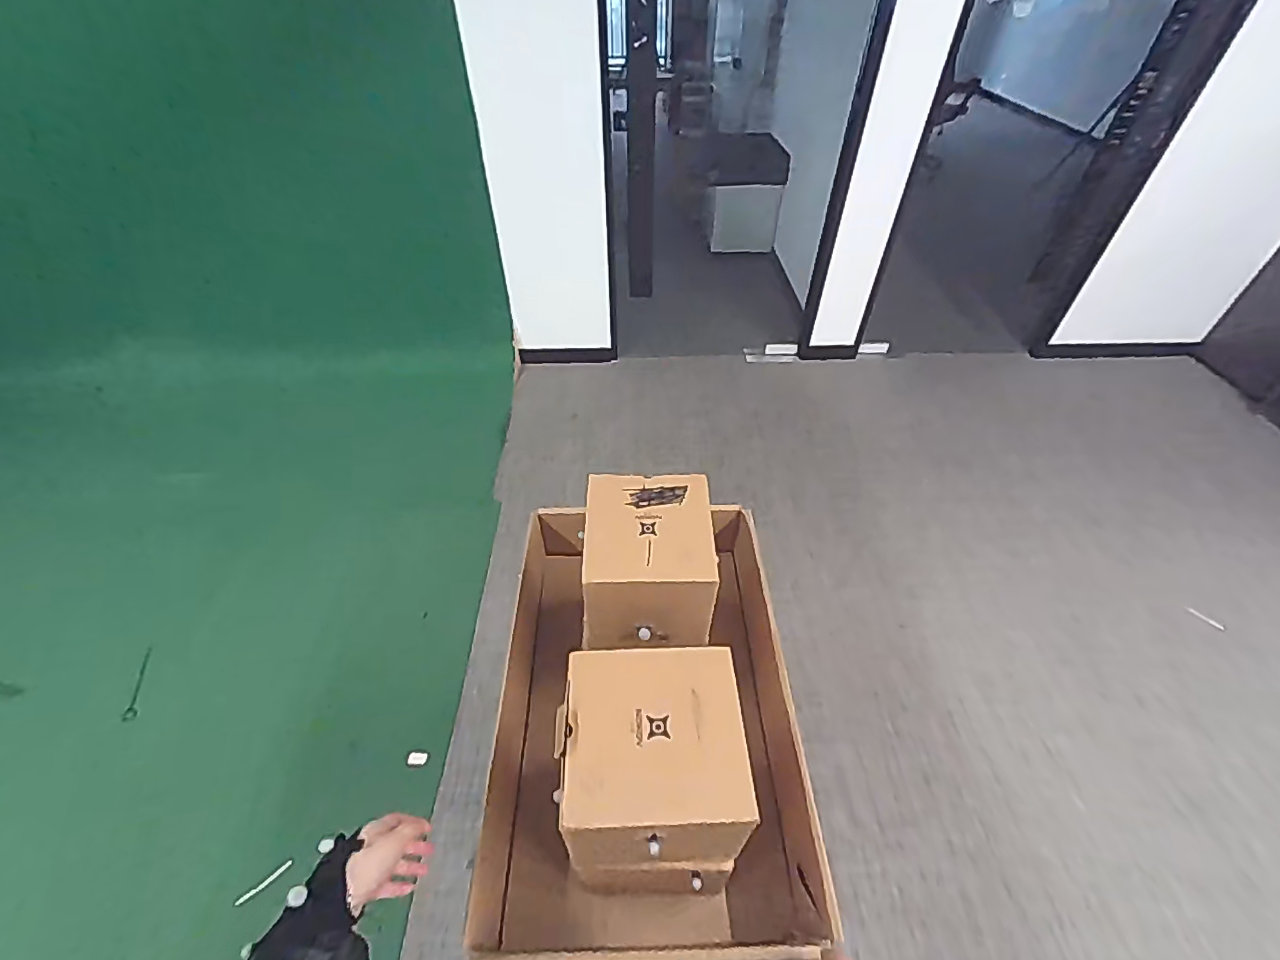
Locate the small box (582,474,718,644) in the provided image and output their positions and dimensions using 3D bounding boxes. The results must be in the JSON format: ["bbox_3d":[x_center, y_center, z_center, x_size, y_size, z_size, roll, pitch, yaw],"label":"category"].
[{"bbox_3d":[0.011,0.110,0.756,0.168,0.176,0.179,0,48,0],"label":"small box"}]

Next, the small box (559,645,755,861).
[{"bbox_3d":[0.013,0.295,0.583,0.179,0.176,0.168,-2,46,-2],"label":"small box"}]
